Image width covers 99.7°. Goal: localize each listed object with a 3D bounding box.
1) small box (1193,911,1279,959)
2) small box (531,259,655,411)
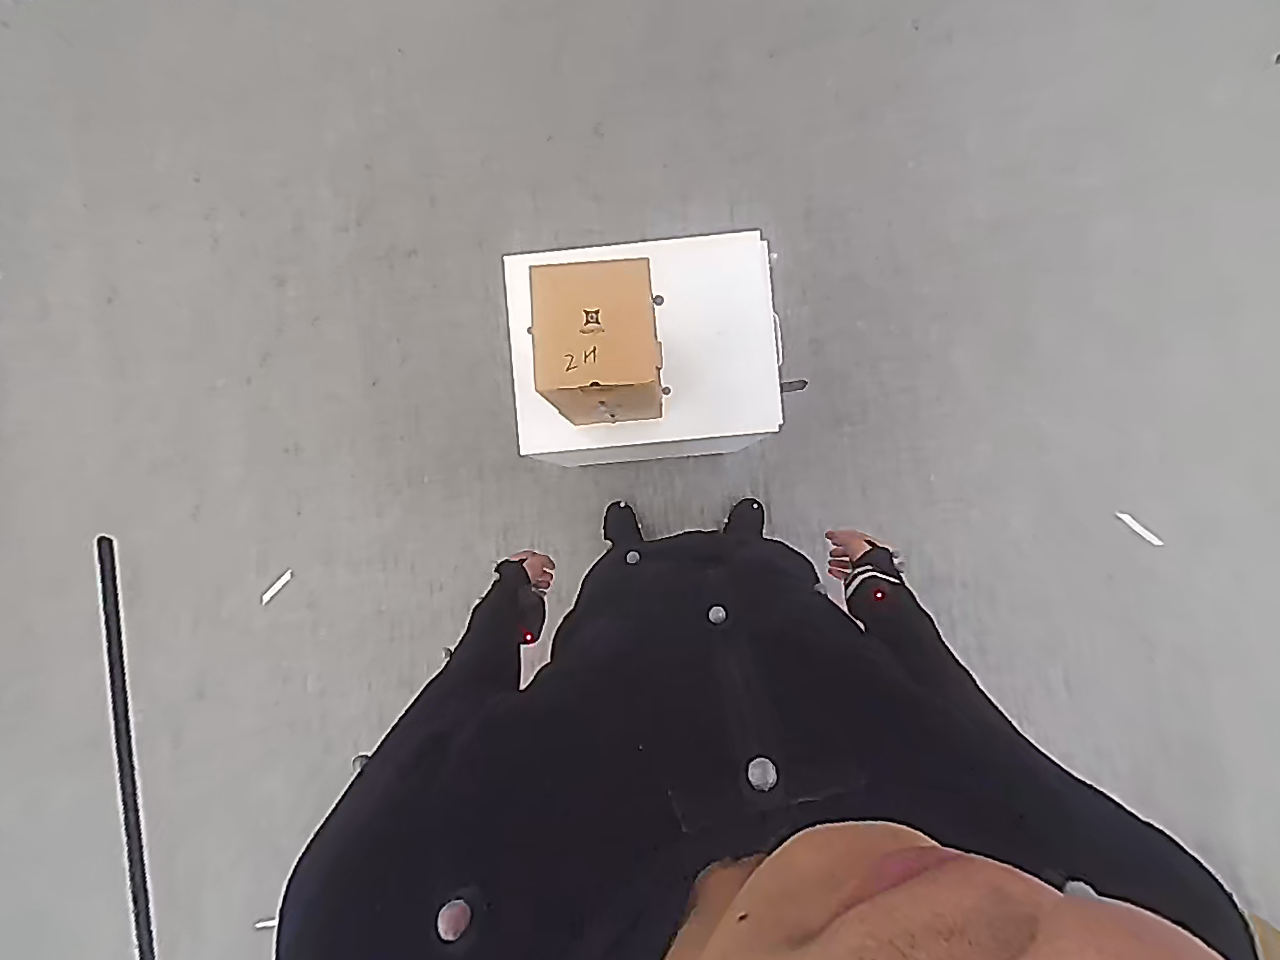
[{"bbox_3d":[1.721,1.353,1.513,0.179,0.176,0.168,-6,89,1],"label":"small box"},{"bbox_3d":[-0.063,-0.206,0.808,0.168,0.176,0.179,-3,88,2],"label":"small box"}]
